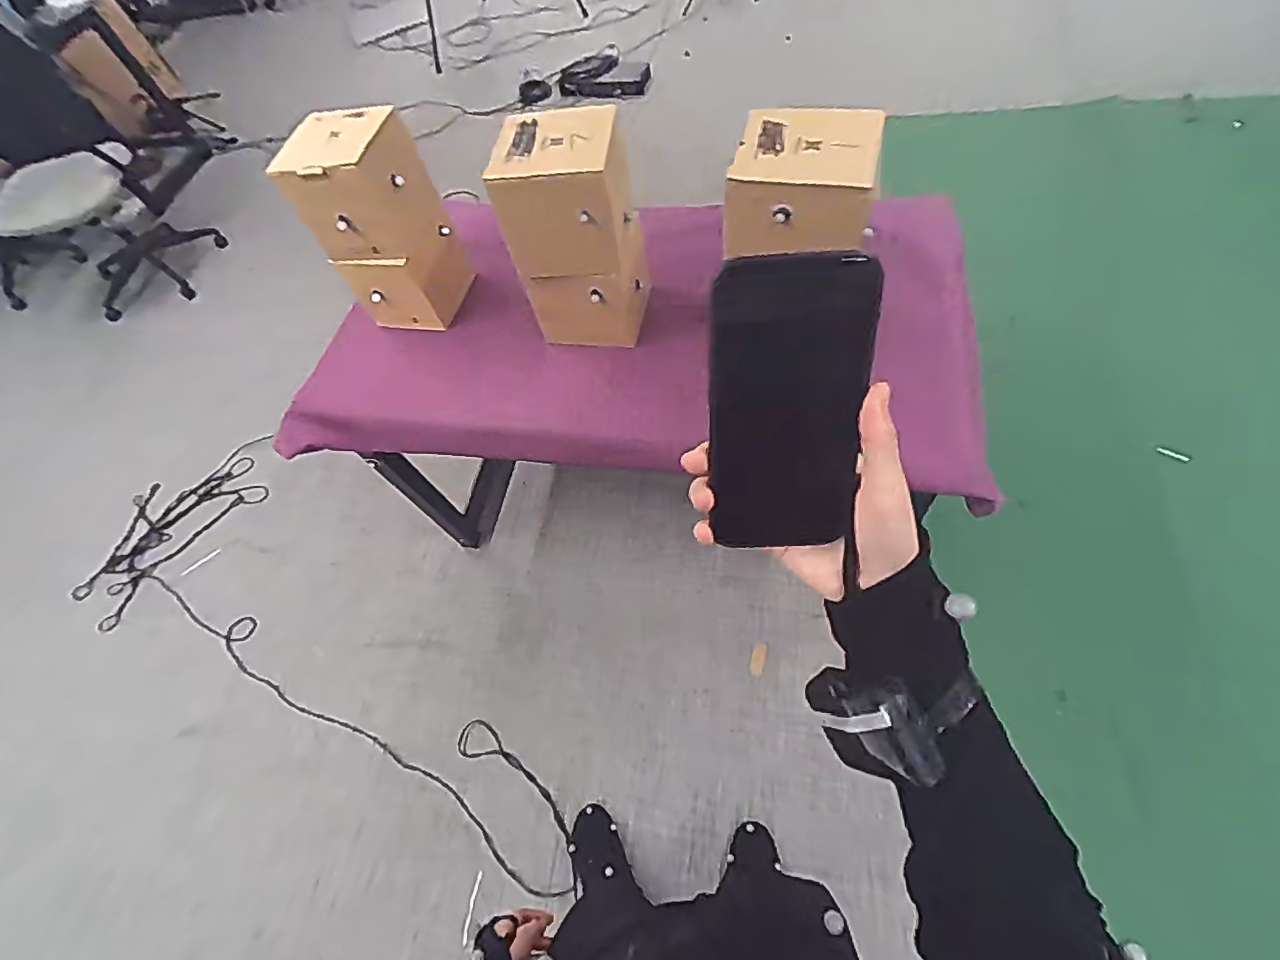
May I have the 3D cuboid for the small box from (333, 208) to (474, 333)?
[{"bbox_3d":[-0.461,-0.416,1.087,0.168,0.176,0.179,7,61,14],"label":"small box"}]

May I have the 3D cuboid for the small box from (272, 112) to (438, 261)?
[{"bbox_3d":[-0.483,-0.506,0.950,0.168,0.176,0.179,3,61,11],"label":"small box"}]

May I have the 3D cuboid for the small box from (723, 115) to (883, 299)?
[{"bbox_3d":[0.220,-0.375,0.753,0.179,0.176,0.168,12,62,16],"label":"small box"}]

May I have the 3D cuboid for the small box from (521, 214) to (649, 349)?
[{"bbox_3d":[-0.088,-0.357,0.986,0.179,0.176,0.168,6,61,13],"label":"small box"}]
